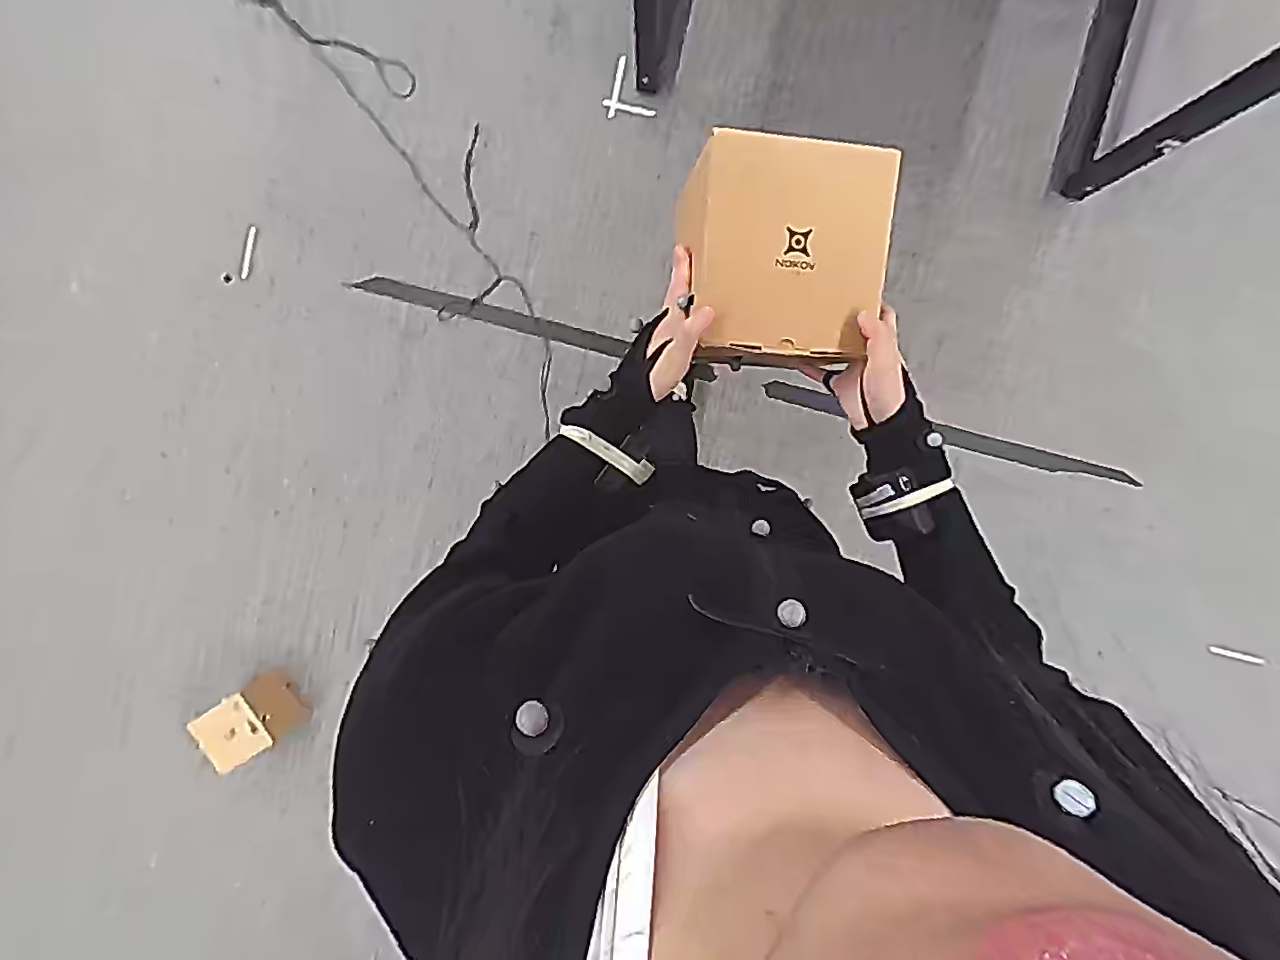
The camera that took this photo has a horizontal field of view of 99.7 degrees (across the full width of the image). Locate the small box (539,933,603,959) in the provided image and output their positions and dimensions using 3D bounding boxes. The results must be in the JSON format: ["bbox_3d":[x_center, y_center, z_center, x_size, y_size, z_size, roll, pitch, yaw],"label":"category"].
[{"bbox_3d":[-0.192,1.319,1.384,0.168,0.176,0.179,10,96,0],"label":"small box"}]

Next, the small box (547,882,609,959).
[{"bbox_3d":[-0.184,1.305,1.548,0.168,0.176,0.179,9,97,1],"label":"small box"}]

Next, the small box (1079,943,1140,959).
[{"bbox_3d":[1.229,1.335,1.358,0.168,0.176,0.179,17,95,-1],"label":"small box"}]

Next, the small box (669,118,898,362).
[{"bbox_3d":[0.125,-0.218,0.541,0.168,0.176,0.179,3,99,-6],"label":"small box"}]

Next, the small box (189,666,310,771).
[{"bbox_3d":[-1.072,0.653,1.499,0.179,0.176,0.168,-32,93,4],"label":"small box"}]
